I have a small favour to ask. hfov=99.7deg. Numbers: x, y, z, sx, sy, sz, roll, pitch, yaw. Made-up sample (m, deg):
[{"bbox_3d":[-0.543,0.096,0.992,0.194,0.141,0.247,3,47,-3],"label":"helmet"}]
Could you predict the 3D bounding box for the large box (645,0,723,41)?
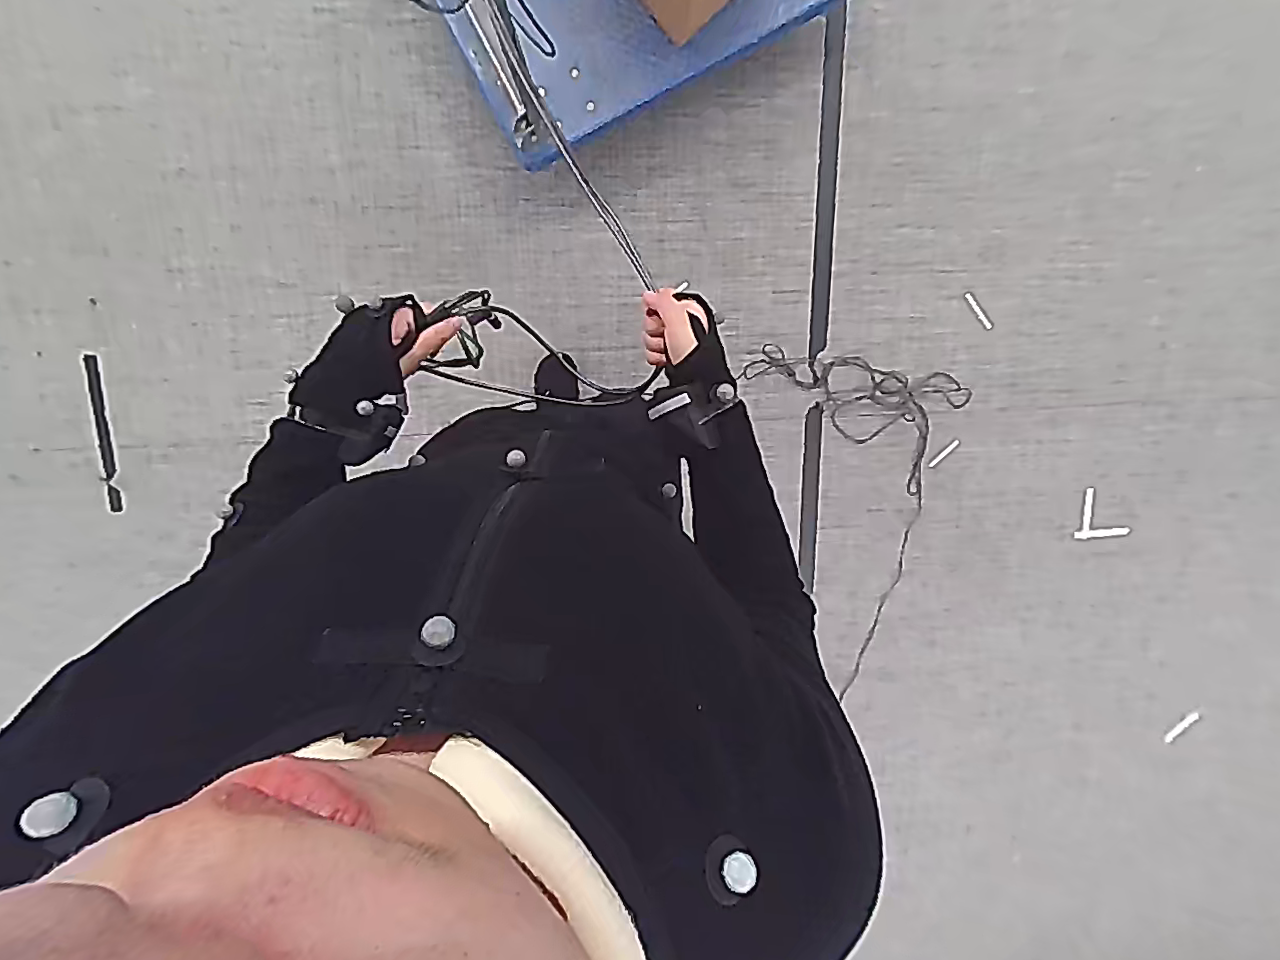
[{"bbox_3d":[0.069,-1.118,0.931,0.320,0.320,0.408,-42,102,6],"label":"large box"}]
